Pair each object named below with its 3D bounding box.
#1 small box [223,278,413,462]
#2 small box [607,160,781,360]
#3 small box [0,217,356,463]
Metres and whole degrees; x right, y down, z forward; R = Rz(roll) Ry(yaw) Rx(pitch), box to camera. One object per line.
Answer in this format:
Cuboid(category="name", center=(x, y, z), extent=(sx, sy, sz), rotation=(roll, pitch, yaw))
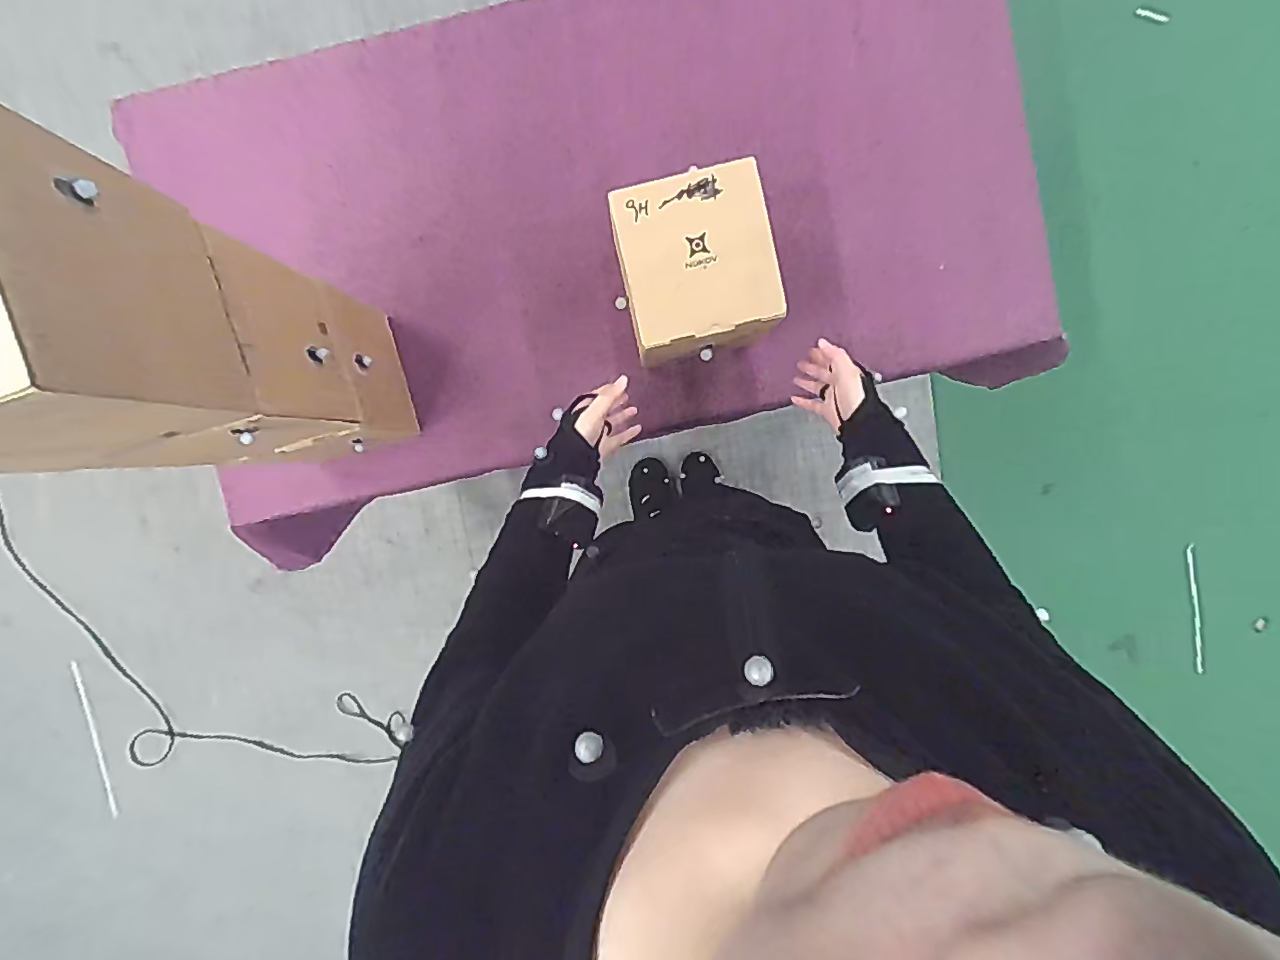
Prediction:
Cuboid(category="small box", center=(-0.413, -0.128, 0.683), extent=(0.168, 0.176, 0.179), rotation=(-14, 93, 0))
Cuboid(category="small box", center=(0.062, -0.253, 0.673), extent=(0.168, 0.176, 0.179), rotation=(-13, 95, 2))
Cuboid(category="small box", center=(-0.417, -0.116, 0.521), extent=(0.179, 0.176, 0.168), rotation=(-16, 94, 0))
